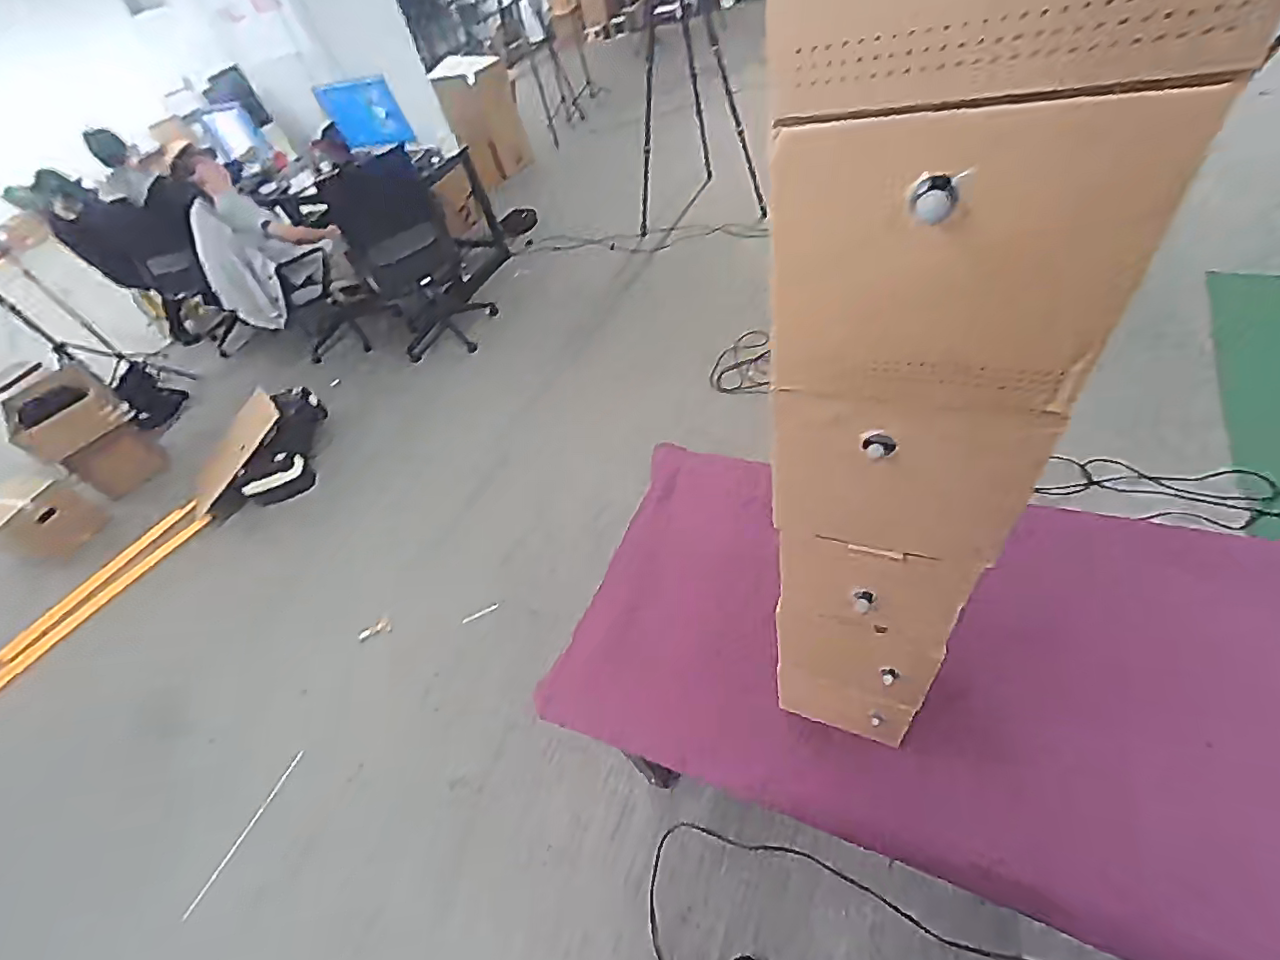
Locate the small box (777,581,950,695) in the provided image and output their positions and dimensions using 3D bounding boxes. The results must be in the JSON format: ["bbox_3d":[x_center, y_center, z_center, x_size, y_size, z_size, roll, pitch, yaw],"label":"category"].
[{"bbox_3d":[0.284,0.151,0.688,0.179,0.176,0.168,11,54,25],"label":"small box"}]

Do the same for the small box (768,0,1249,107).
[{"bbox_3d":[0.154,-0.274,0.208,0.179,0.176,0.168,11,53,24],"label":"small box"}]

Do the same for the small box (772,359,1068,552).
[{"bbox_3d":[0.216,-0.061,0.448,0.179,0.176,0.168,11,53,23],"label":"small box"}]

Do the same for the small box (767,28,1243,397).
[{"bbox_3d":[0.187,-0.167,0.330,0.179,0.176,0.168,10,53,24],"label":"small box"}]

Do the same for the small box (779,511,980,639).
[{"bbox_3d":[0.251,0.042,0.572,0.168,0.176,0.179,11,54,23],"label":"small box"}]
